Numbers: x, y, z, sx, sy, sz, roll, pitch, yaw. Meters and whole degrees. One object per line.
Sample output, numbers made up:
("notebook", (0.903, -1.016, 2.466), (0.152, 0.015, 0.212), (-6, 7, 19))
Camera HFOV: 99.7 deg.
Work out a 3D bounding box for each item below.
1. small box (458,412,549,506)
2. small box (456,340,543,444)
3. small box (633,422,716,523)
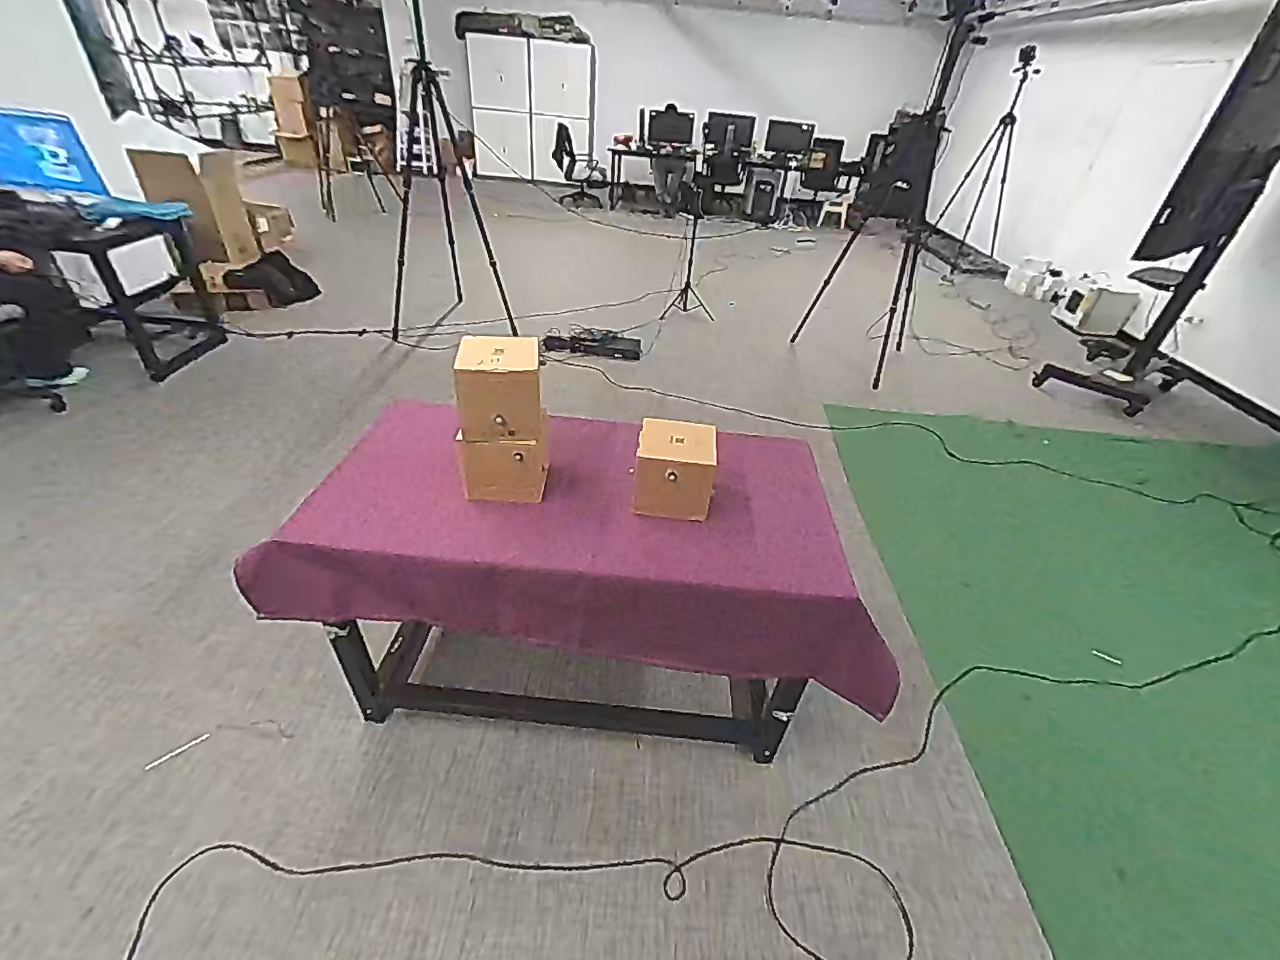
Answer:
("small box", (-0.314, -0.054, 1.277), (0.179, 0.176, 0.168), (4, 36, -4))
("small box", (-0.301, -0.193, 1.188), (0.168, 0.176, 0.179), (-2, 37, -9))
("small box", (0.081, -0.016, 1.271), (0.179, 0.176, 0.168), (7, 37, 2))
